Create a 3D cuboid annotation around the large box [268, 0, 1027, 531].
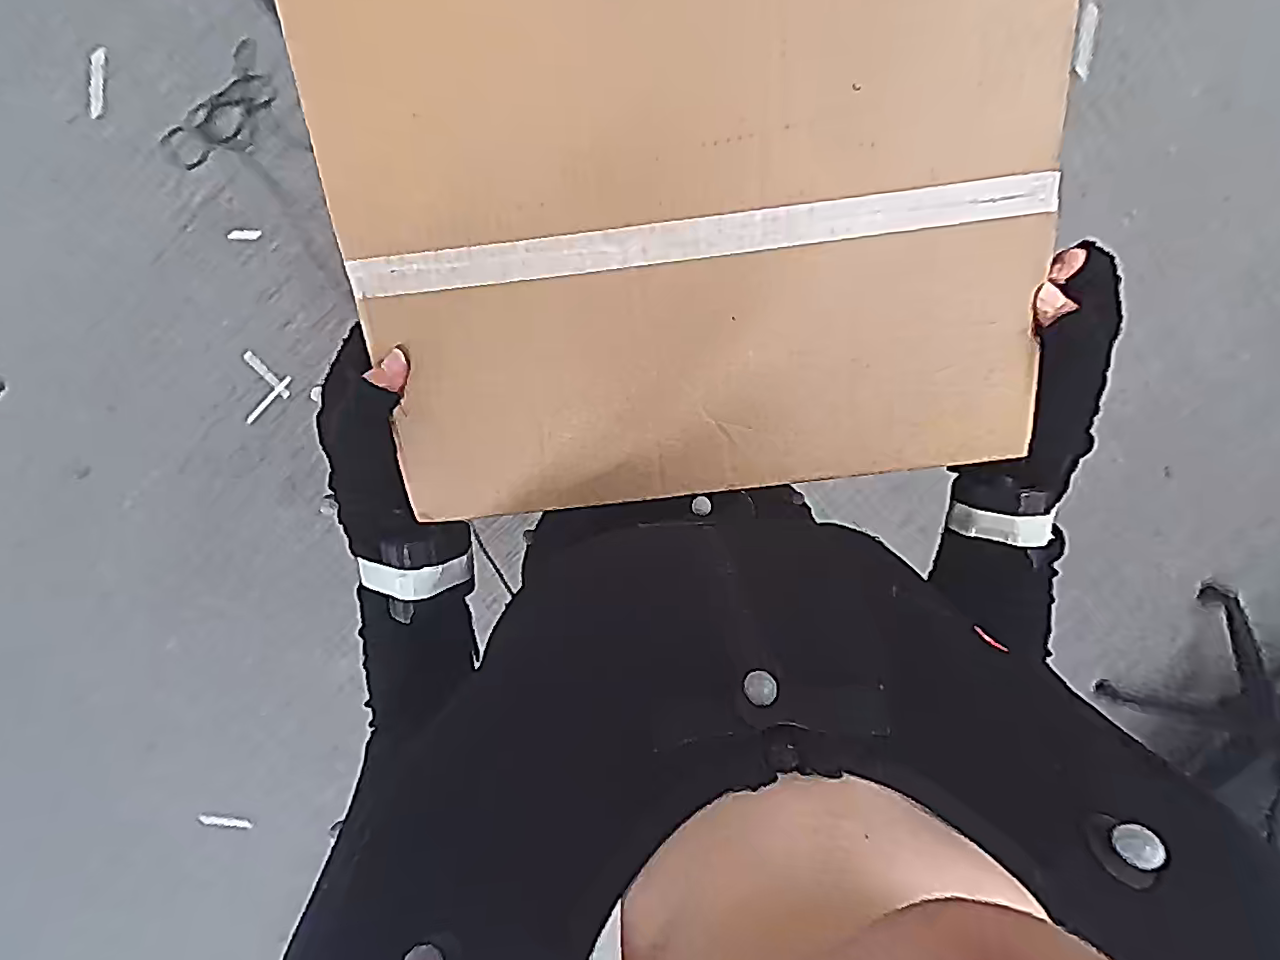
[{"bbox_3d":[0.020,-0.185,0.463,0.408,0.320,0.320,-8,108,2],"label":"large box"}]
